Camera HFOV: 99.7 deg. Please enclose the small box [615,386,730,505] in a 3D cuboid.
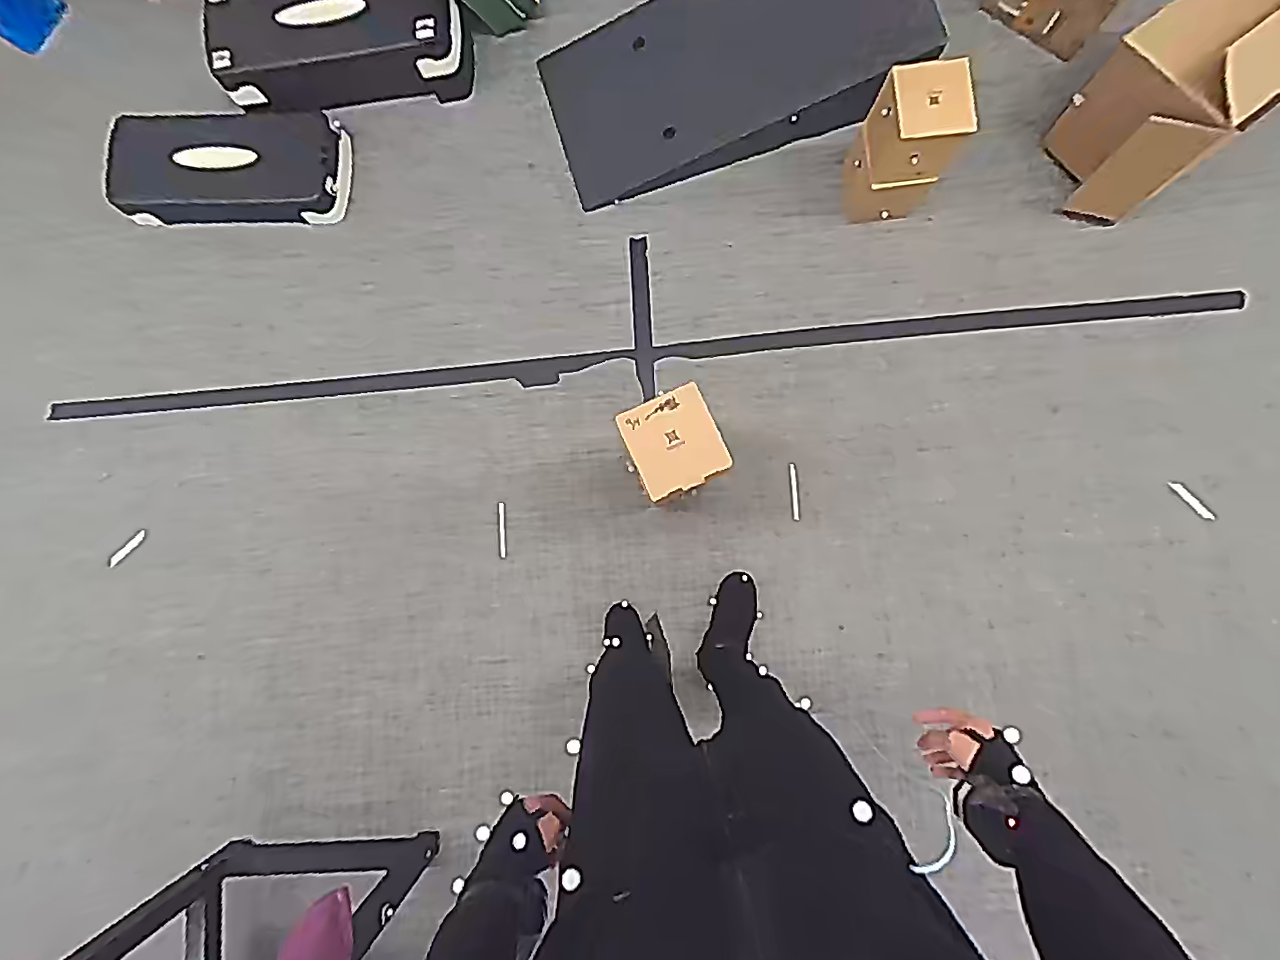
[{"bbox_3d":[0.064,-0.060,1.073,0.168,0.176,0.179,-24,85,0],"label":"small box"}]
